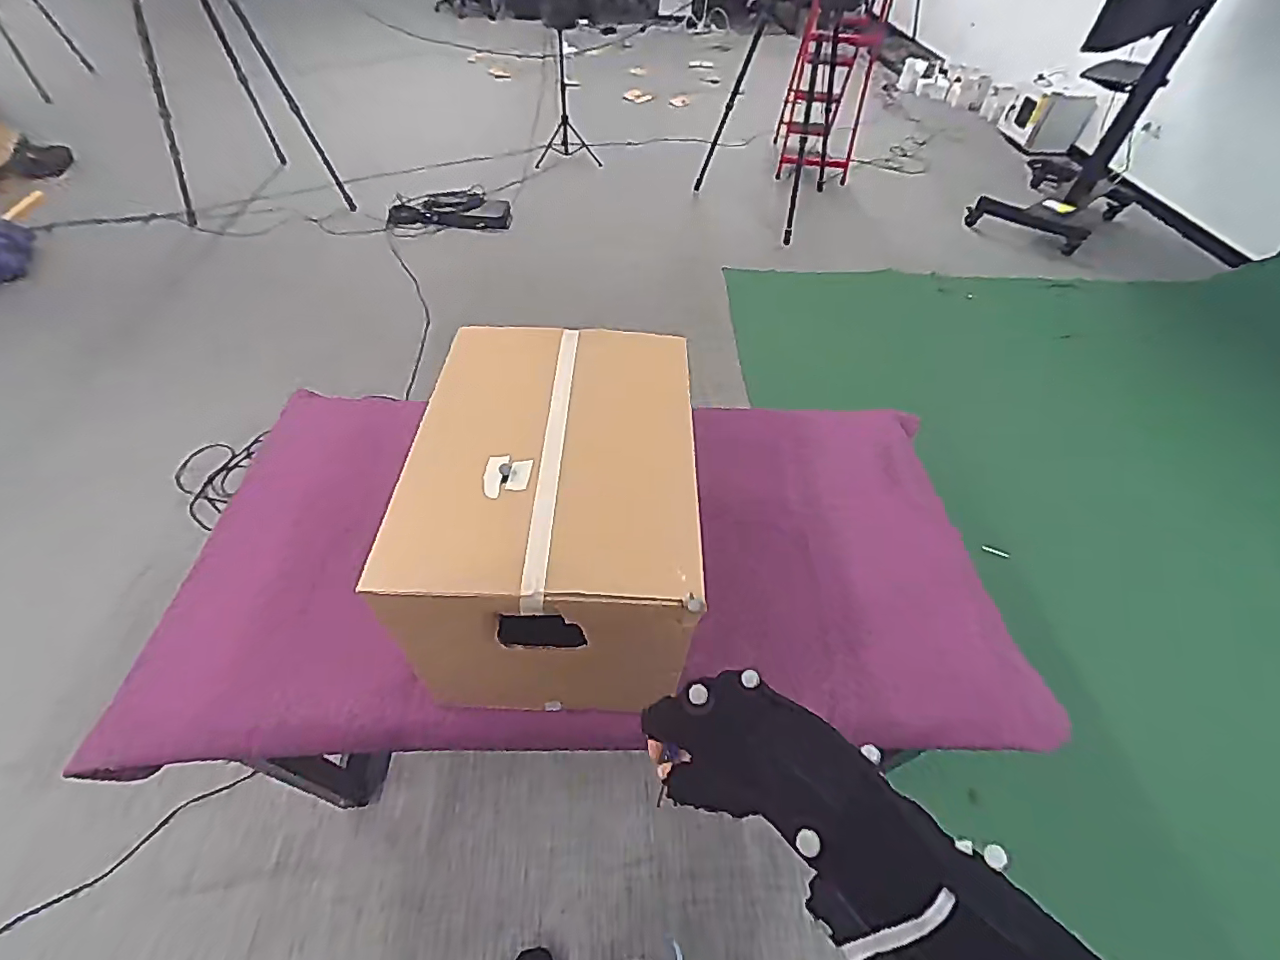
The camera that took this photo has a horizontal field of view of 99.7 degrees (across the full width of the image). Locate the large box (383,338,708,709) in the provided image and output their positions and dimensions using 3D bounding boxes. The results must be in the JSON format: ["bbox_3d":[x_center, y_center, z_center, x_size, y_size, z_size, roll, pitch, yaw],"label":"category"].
[{"bbox_3d":[-0.098,0.058,0.743,0.320,0.320,0.408,3,50,-2],"label":"large box"}]
